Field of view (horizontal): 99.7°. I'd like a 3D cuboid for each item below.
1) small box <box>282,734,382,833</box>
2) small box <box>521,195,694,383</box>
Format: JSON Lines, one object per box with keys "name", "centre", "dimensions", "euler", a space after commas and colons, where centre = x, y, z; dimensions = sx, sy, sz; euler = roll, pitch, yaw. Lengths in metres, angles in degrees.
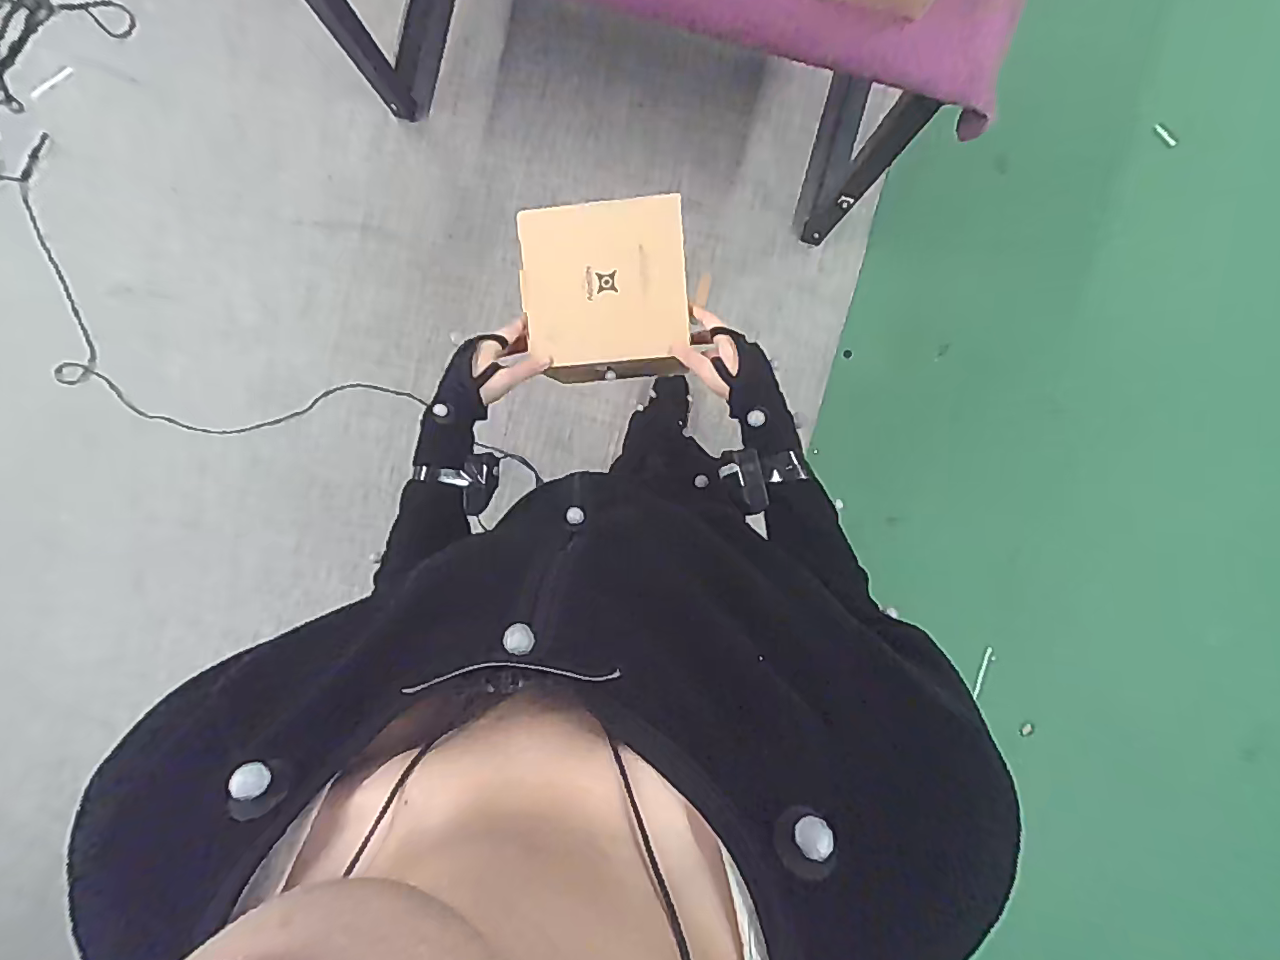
{"name": "small box", "centre": [-0.826, 0.814, 1.465], "dimensions": [0.179, 0.176, 0.168], "euler": [6, 94, 1]}
{"name": "small box", "centre": [-0.028, -0.213, 0.650], "dimensions": [0.179, 0.176, 0.168], "euler": [-4, 94, 6]}
